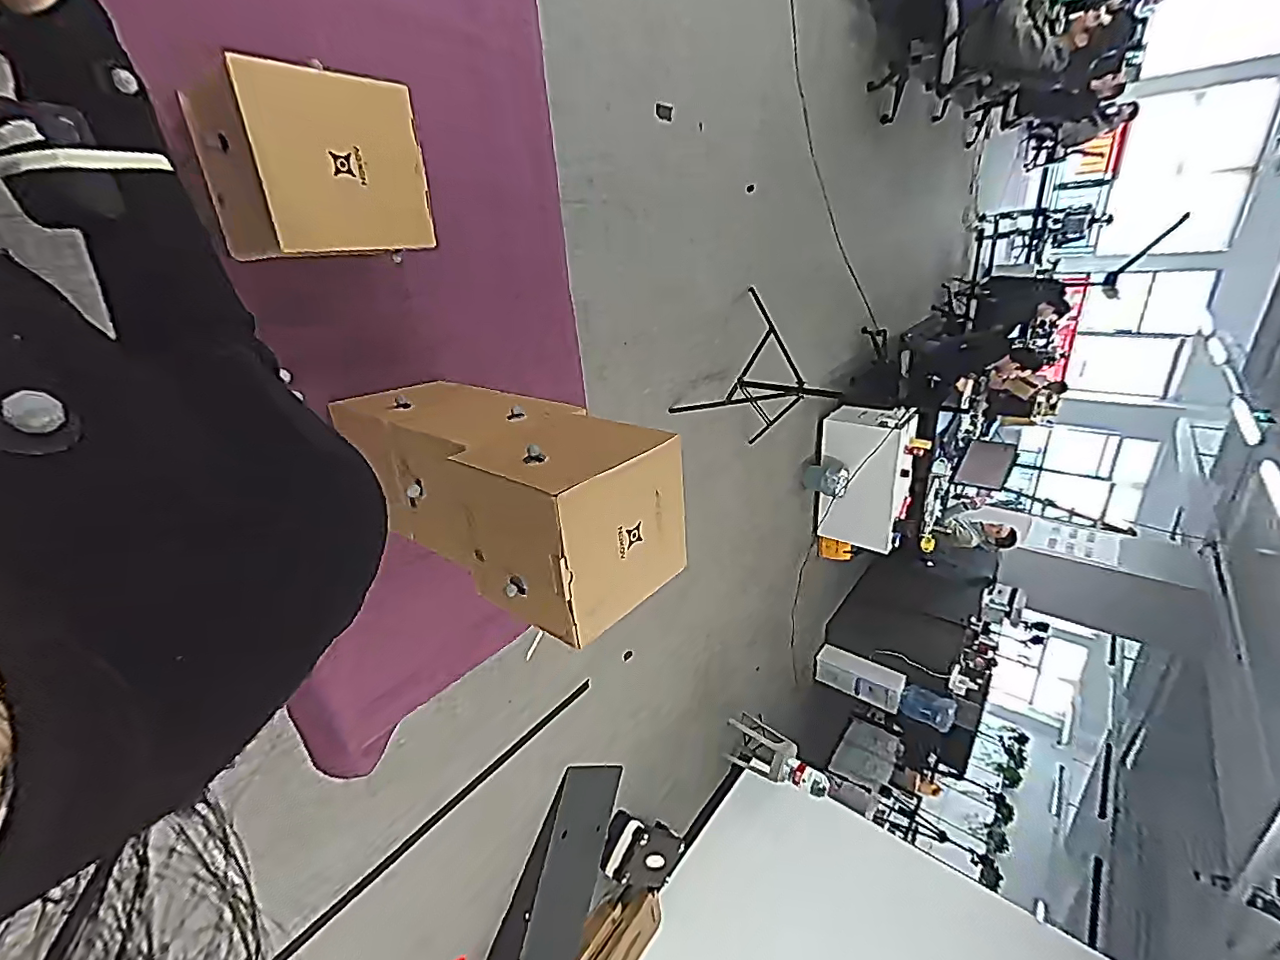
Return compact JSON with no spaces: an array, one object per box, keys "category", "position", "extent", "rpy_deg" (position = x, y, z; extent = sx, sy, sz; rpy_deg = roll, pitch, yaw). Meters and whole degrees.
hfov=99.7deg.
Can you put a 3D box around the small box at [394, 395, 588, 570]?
[{"category":"small box","position":[-0.181,-0.007,0.695],"extent":[0.179,0.176,0.168],"rpy_deg":[-26,121,-45]}]

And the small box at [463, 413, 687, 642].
[{"category":"small box","position":[-0.069,0.035,0.583],"extent":[0.179,0.176,0.168],"rpy_deg":[-31,125,-44]}]

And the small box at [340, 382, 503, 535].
[{"category":"small box","position":[-0.310,-0.042,0.790],"extent":[0.179,0.176,0.168],"rpy_deg":[-26,122,-45]}]

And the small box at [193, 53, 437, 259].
[{"category":"small box","position":[-0.367,-0.347,0.614],"extent":[0.179,0.176,0.168],"rpy_deg":[-29,124,-45]}]
